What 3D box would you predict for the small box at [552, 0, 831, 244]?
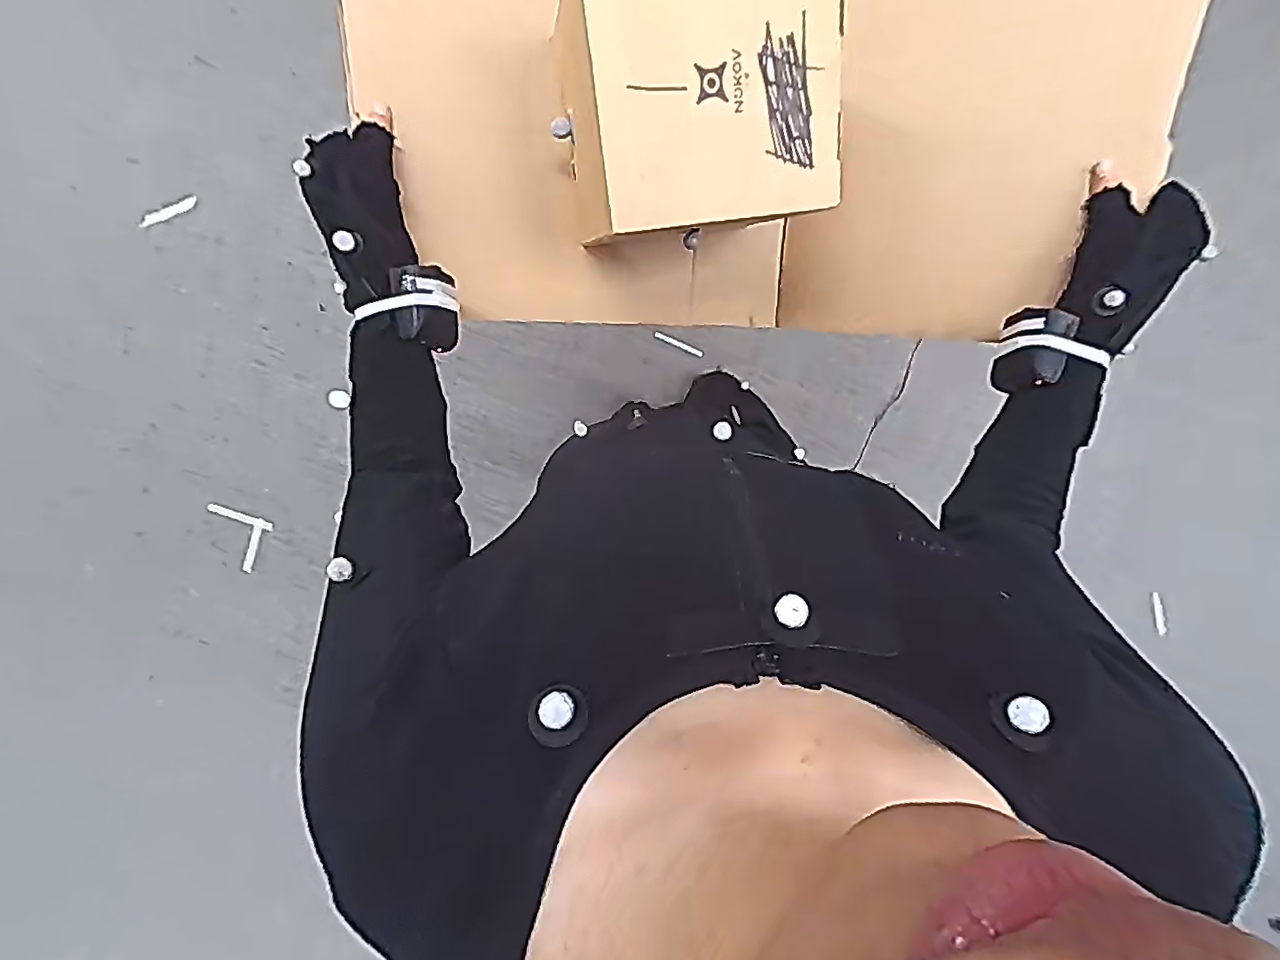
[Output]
[{"bbox_3d":[0.033,-0.293,0.441,0.179,0.176,0.168,-12,112,-9],"label":"small box"}]
